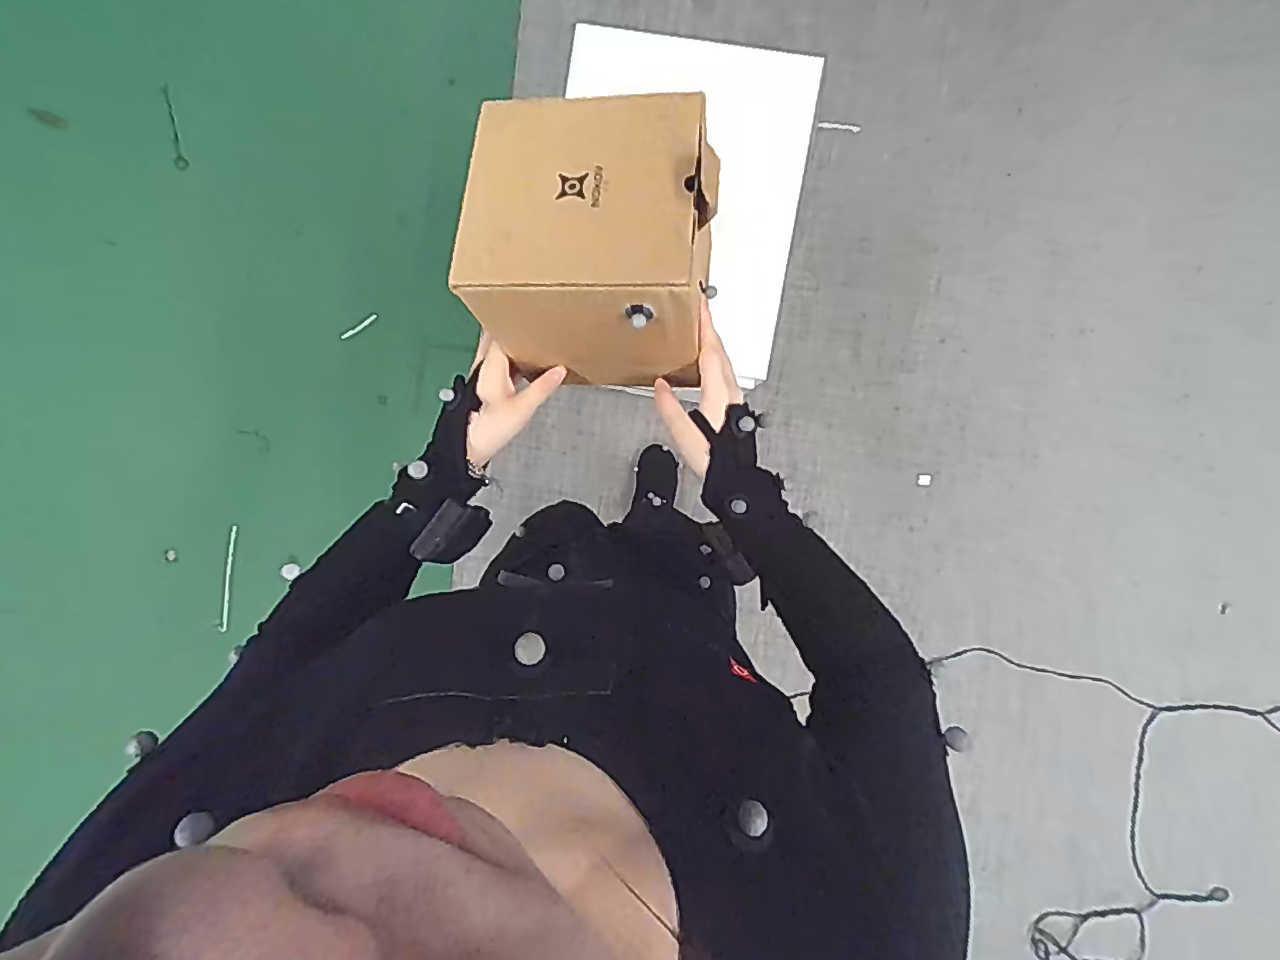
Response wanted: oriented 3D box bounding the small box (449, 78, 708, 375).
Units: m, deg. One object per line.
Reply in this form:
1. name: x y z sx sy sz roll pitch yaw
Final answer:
1. small box: -0.034 -0.201 0.468 0.179 0.176 0.168 3 75 8
